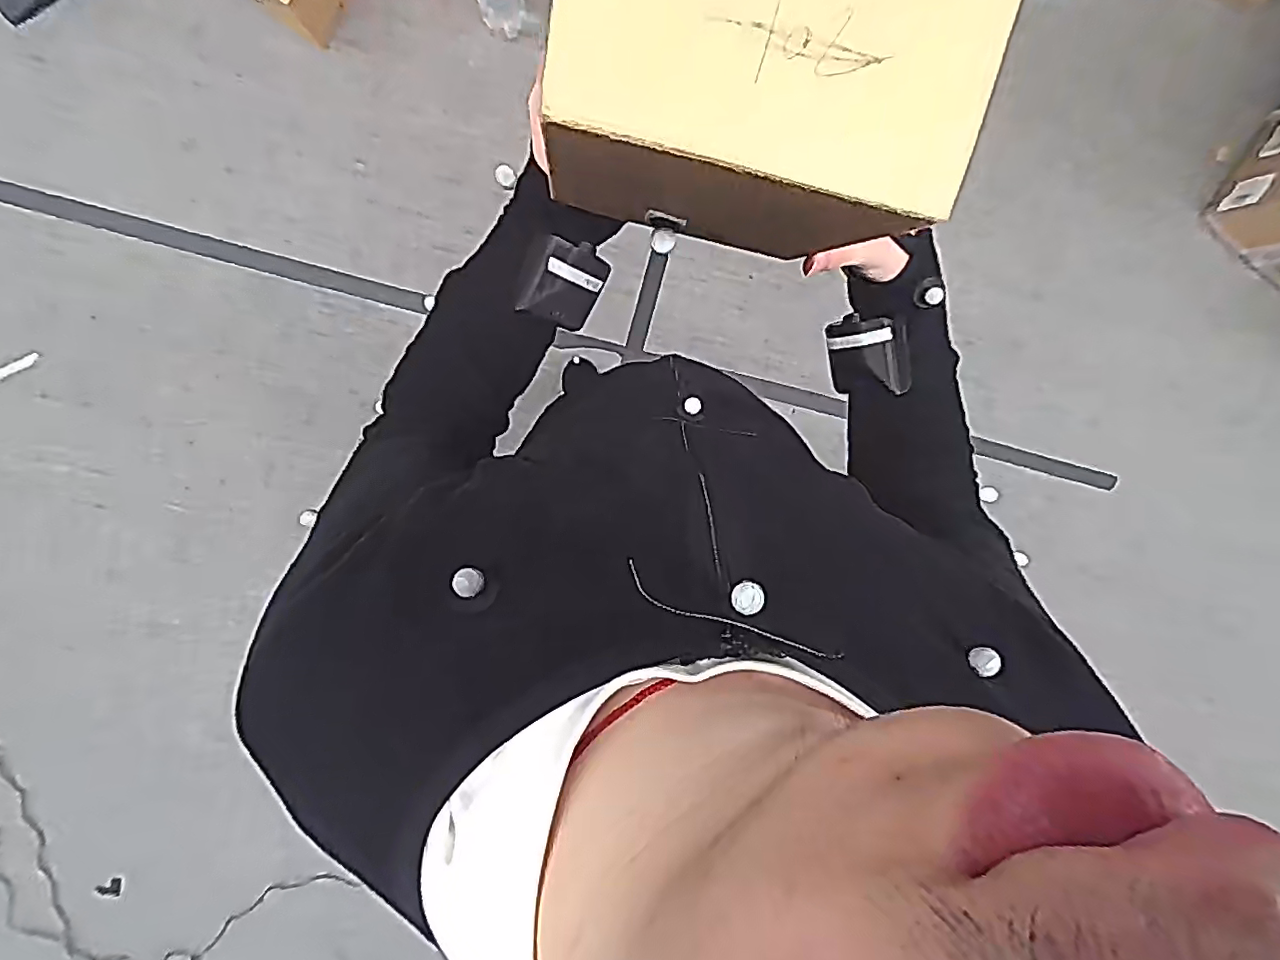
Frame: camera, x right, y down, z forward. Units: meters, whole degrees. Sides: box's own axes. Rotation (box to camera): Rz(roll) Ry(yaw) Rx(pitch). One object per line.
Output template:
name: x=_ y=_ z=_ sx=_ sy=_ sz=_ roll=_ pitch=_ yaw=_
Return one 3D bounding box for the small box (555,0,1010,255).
small box: x=0.053 y=-0.227 z=0.267 sx=0.168 sy=0.176 sz=0.179 roll=10 pitch=106 yaw=-10
